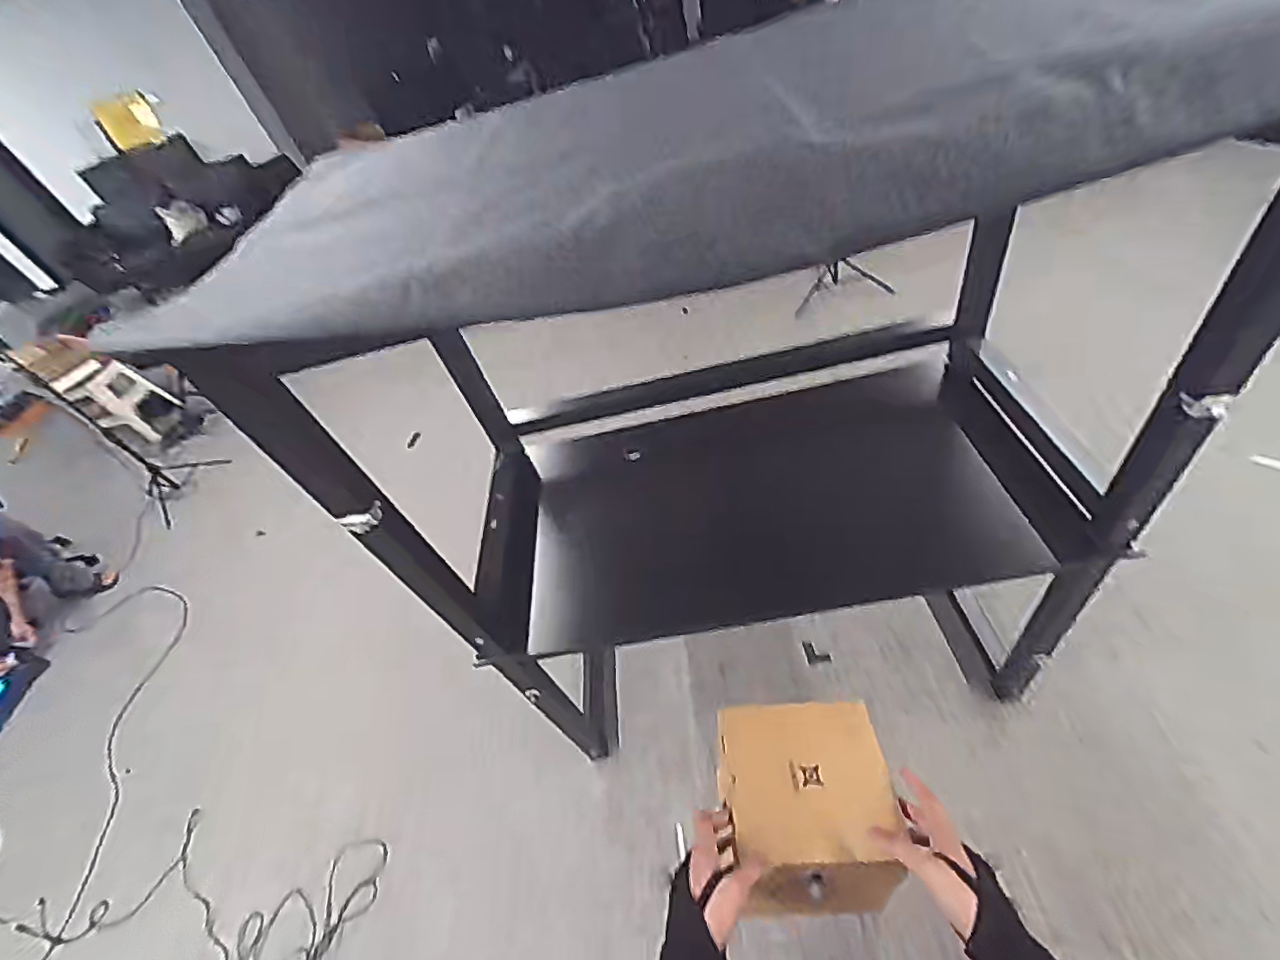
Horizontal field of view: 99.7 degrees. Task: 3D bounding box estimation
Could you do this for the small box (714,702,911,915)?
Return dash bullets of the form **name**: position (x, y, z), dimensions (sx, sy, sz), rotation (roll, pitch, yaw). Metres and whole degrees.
- **small box**: position (0.183, 0.383, 0.633), dimensions (0.179, 0.176, 0.168), rotation (-6, 38, 3)
